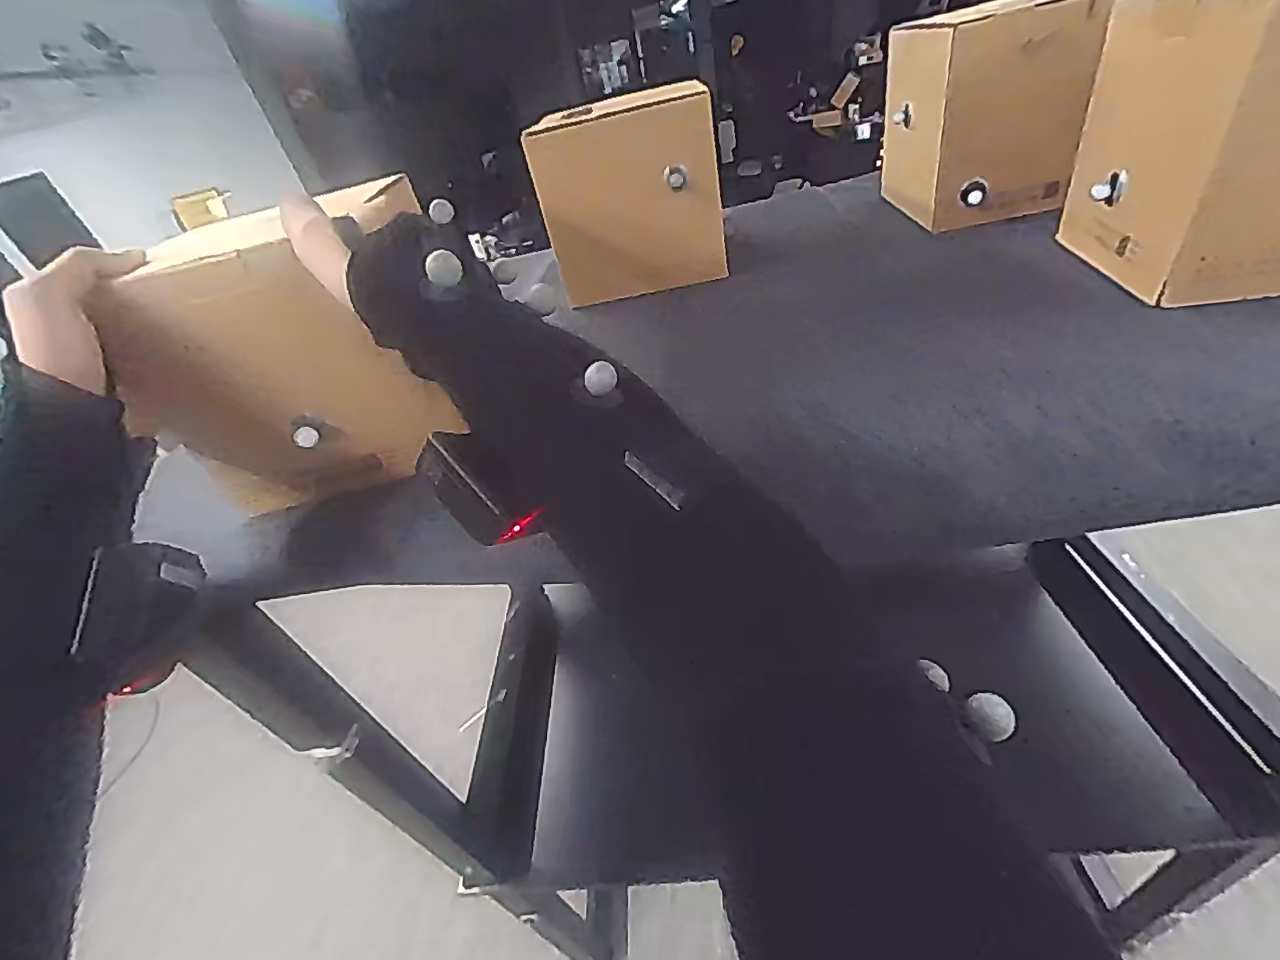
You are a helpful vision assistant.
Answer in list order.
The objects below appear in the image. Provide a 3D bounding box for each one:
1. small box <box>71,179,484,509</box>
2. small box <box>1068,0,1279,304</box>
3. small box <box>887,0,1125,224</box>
[{"bbox_3d":[-0.231,-0.106,0.410,0.168,0.176,0.179,-15,37,1],"label":"small box"},{"bbox_3d":[0.415,-0.227,0.335,0.179,0.176,0.168,-4,37,17],"label":"small box"},{"bbox_3d":[0.359,-0.372,0.542,0.168,0.176,0.179,-8,37,10],"label":"small box"}]
